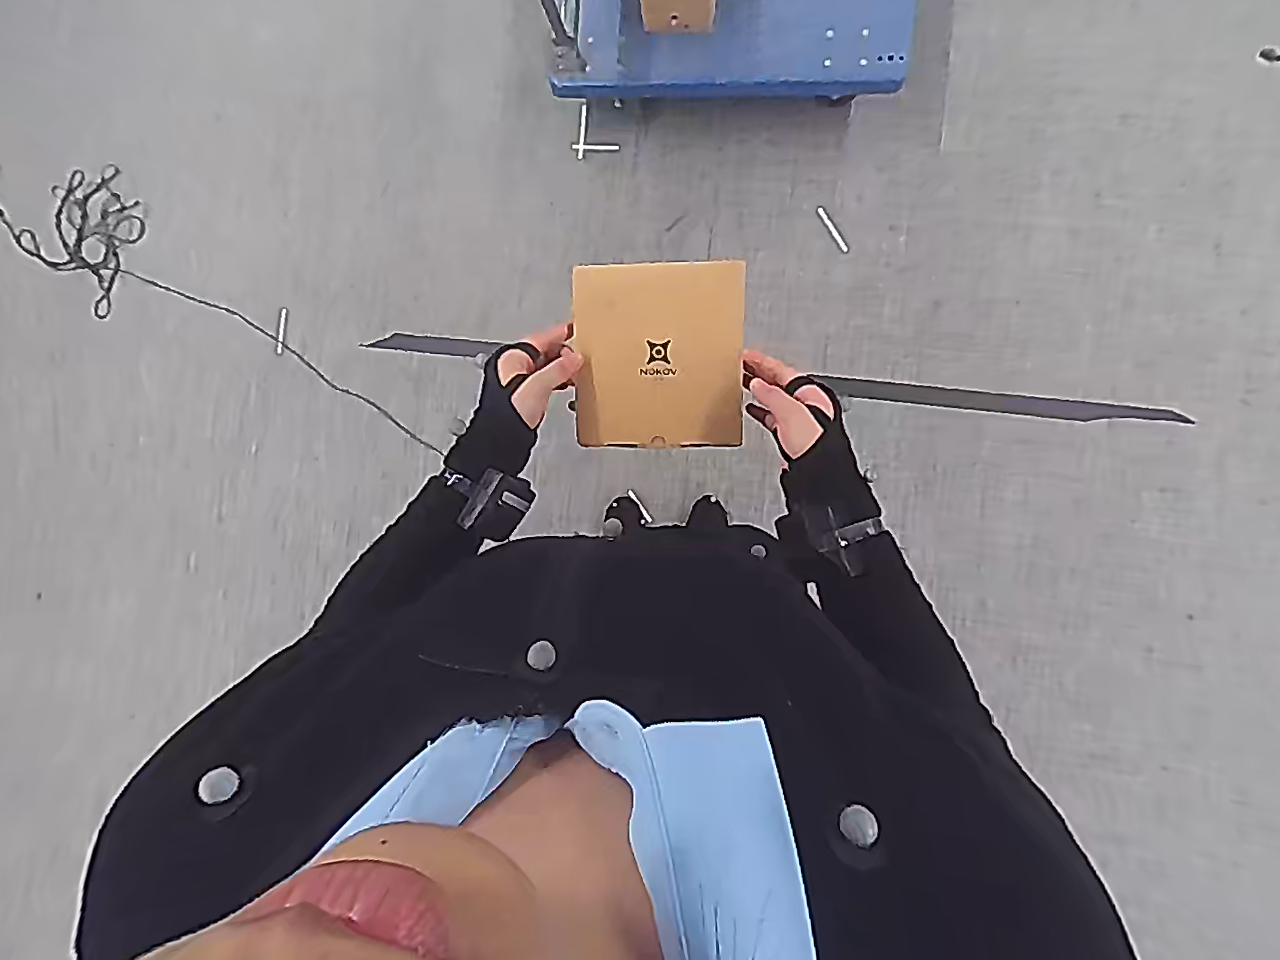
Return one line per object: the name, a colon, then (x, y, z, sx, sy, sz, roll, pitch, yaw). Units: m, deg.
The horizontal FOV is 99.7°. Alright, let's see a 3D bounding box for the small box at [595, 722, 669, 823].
small box: (-0.017, 0.760, 1.415, 0.168, 0.176, 0.179, -6, 89, 6)
